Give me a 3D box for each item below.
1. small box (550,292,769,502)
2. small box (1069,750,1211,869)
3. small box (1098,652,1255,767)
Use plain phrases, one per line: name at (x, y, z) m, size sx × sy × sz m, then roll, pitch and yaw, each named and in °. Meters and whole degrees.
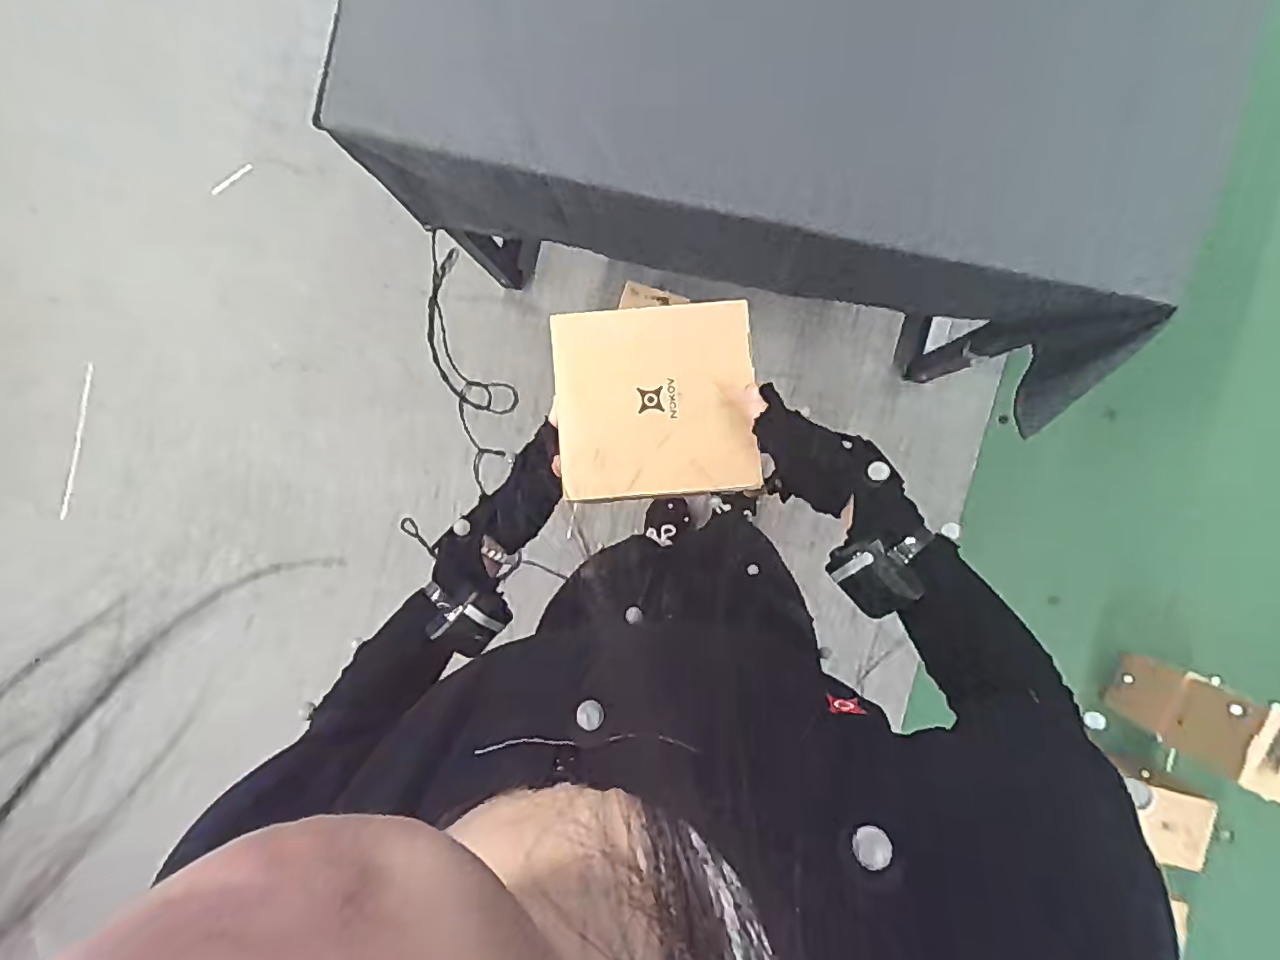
small box at (0.017, -0.067, 0.534) m, size 0.179 × 0.176 × 0.168 m, roll -5°, pitch 87°, yaw 0°
small box at (1.197, 0.785, 1.310) m, size 0.179 × 0.176 × 0.168 m, roll 12°, pitch 92°, yaw 3°
small box at (1.278, 0.540, 1.301) m, size 0.179 × 0.176 × 0.168 m, roll 25°, pitch 92°, yaw 5°
